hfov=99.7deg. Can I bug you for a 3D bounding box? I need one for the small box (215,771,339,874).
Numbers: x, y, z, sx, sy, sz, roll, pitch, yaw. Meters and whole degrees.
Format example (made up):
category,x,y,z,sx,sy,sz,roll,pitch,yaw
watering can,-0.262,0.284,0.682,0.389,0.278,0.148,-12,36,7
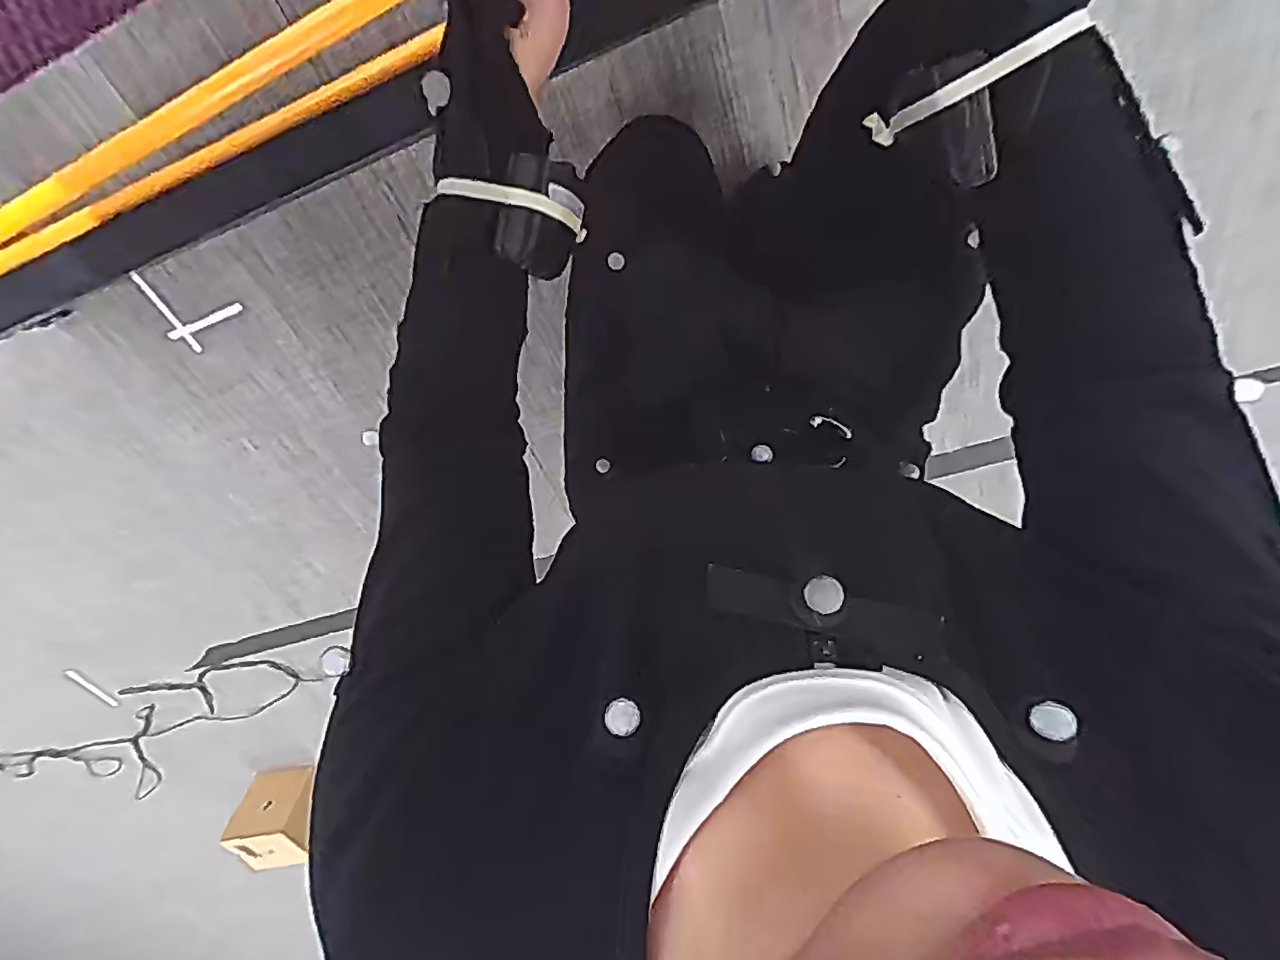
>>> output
category,x,y,z,sx,sy,sz,roll,pitch,yaw
small box,-0.936,0.891,1.413,0.179,0.176,0.168,-11,123,6
